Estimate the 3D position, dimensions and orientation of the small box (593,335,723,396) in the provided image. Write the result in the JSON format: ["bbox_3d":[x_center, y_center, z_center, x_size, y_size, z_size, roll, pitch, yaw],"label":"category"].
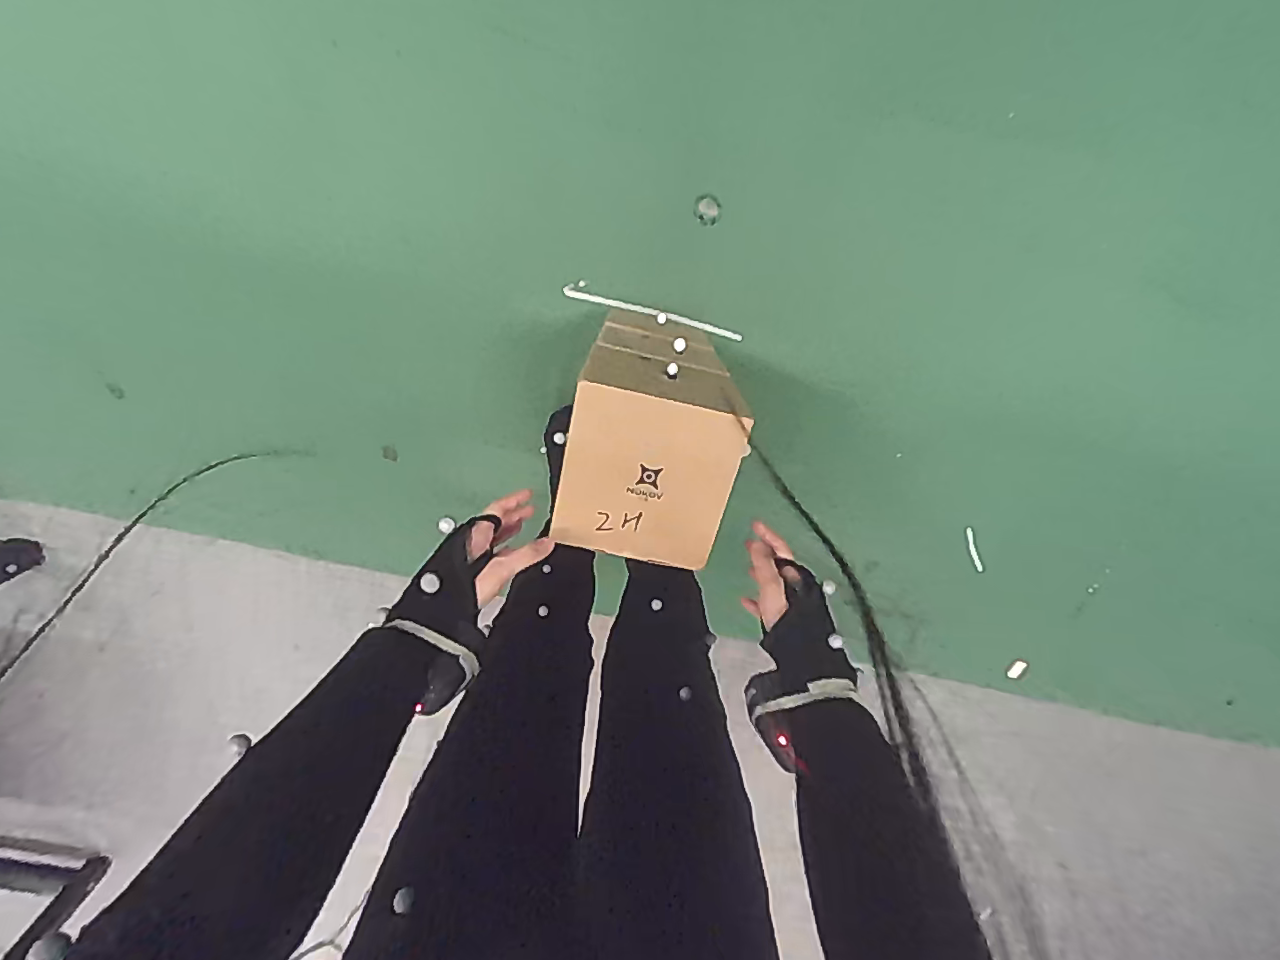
[{"bbox_3d":[0.003,-0.091,0.751,0.168,0.176,0.179,11,114,-5],"label":"small box"}]

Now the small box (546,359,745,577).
[{"bbox_3d":[0.000,-0.023,0.602,0.168,0.176,0.179,12,114,-5],"label":"small box"}]
